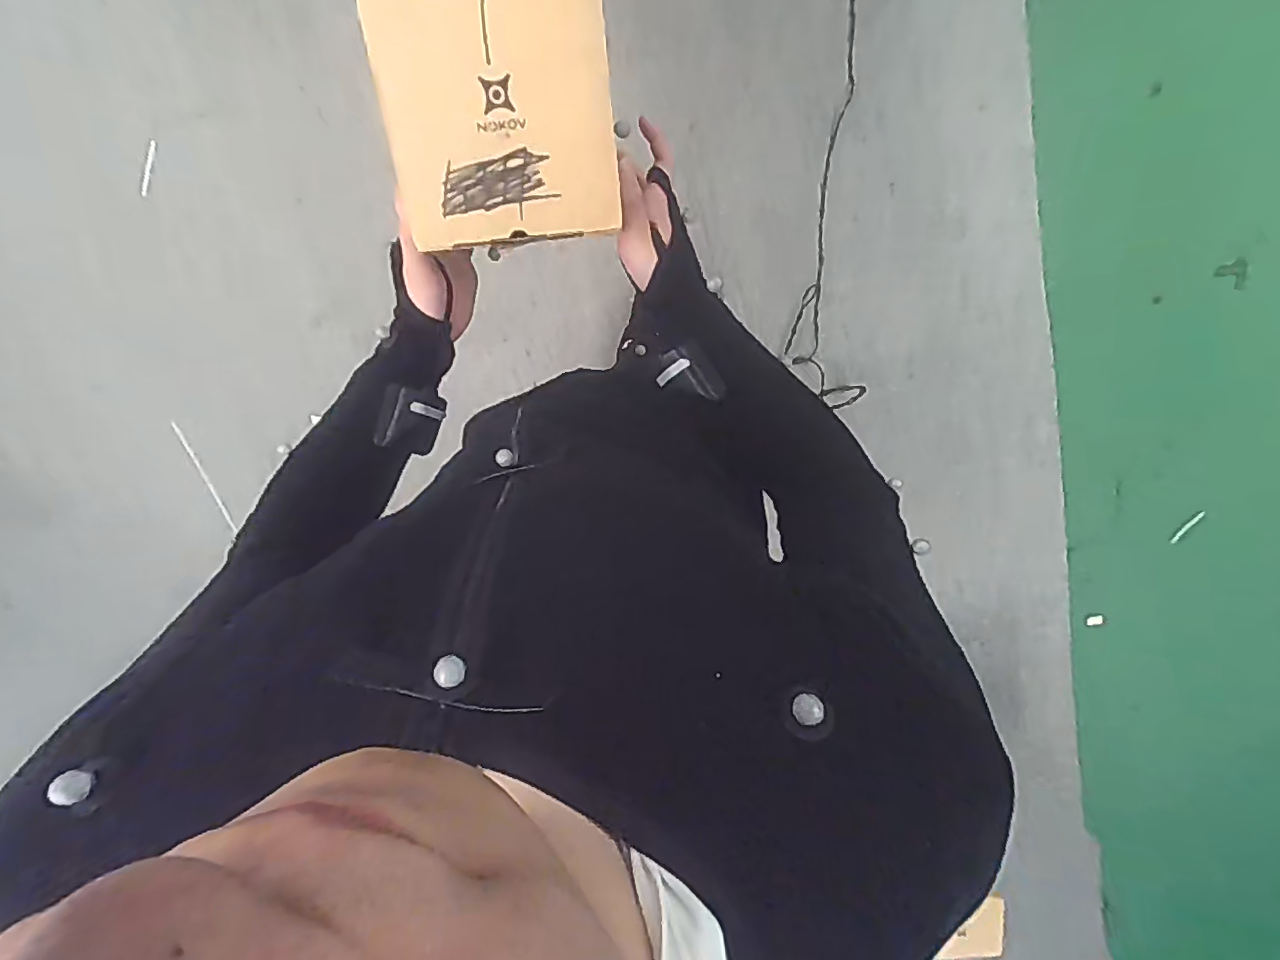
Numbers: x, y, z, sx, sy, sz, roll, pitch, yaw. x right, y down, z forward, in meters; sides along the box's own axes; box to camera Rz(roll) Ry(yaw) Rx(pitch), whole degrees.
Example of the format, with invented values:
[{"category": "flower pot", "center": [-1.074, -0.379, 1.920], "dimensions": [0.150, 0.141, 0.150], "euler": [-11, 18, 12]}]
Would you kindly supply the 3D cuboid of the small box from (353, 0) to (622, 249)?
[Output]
[{"category": "small box", "center": [-0.105, -0.299, 0.458], "dimensions": [0.168, 0.176, 0.179], "euler": [-5, 114, 1]}]
